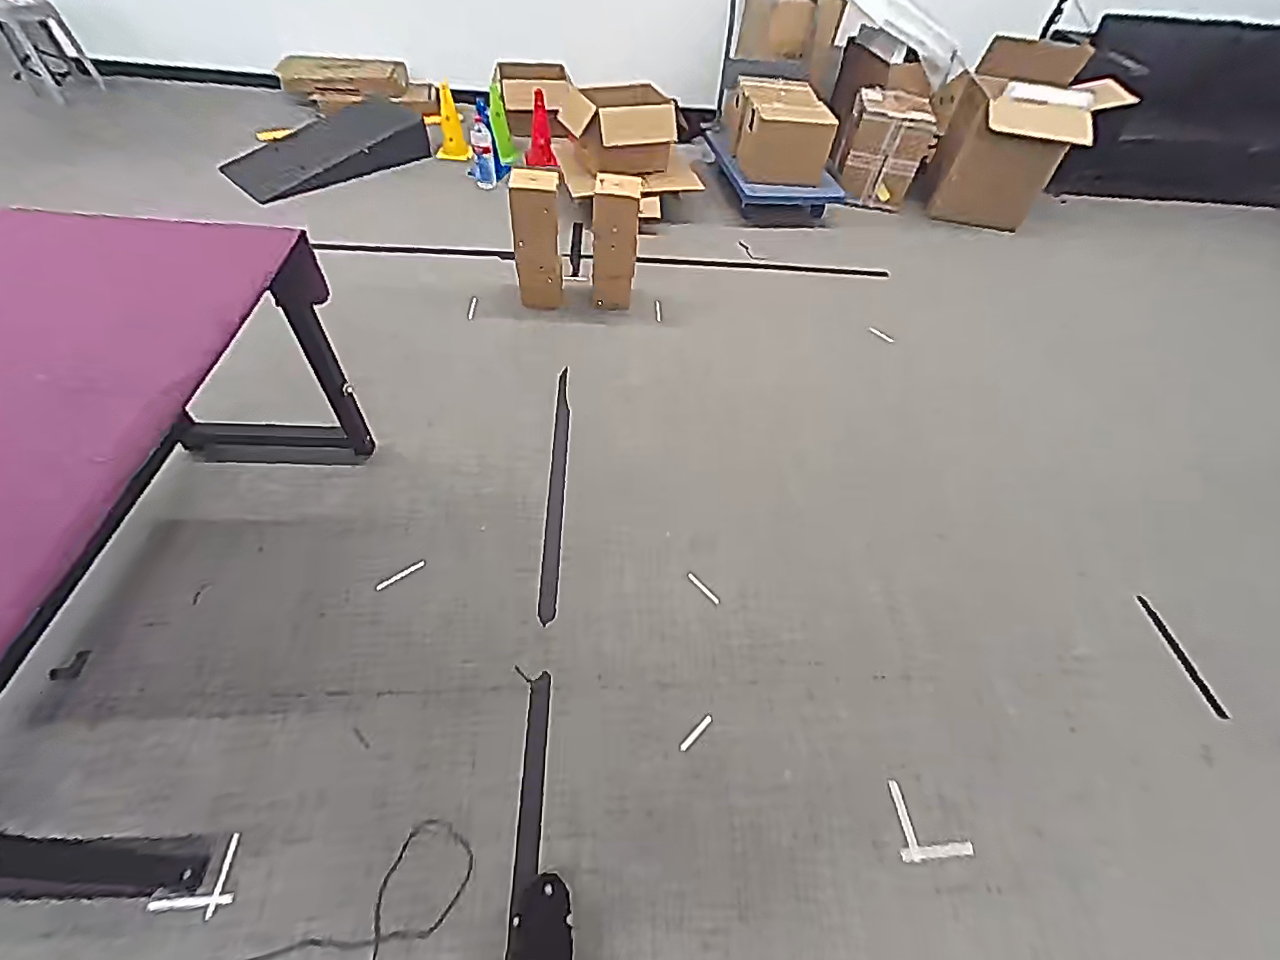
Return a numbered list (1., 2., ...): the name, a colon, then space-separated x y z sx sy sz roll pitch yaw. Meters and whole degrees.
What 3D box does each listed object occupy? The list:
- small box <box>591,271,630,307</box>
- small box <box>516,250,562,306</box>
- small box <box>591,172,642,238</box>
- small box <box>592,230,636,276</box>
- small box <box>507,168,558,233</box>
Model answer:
1. small box: -0.130 -0.877 2.365 0.168 0.176 0.179 1 52 -7
2. small box: -0.431 -0.865 2.322 0.179 0.176 0.168 2 52 -6
3. small box: -0.093 -1.061 2.095 0.179 0.176 0.168 6 52 -4
4. small box: -0.108 -0.964 2.226 0.179 0.176 0.168 3 53 -5
5. small box: -0.404 -1.064 2.064 0.179 0.176 0.168 0 50 -6
